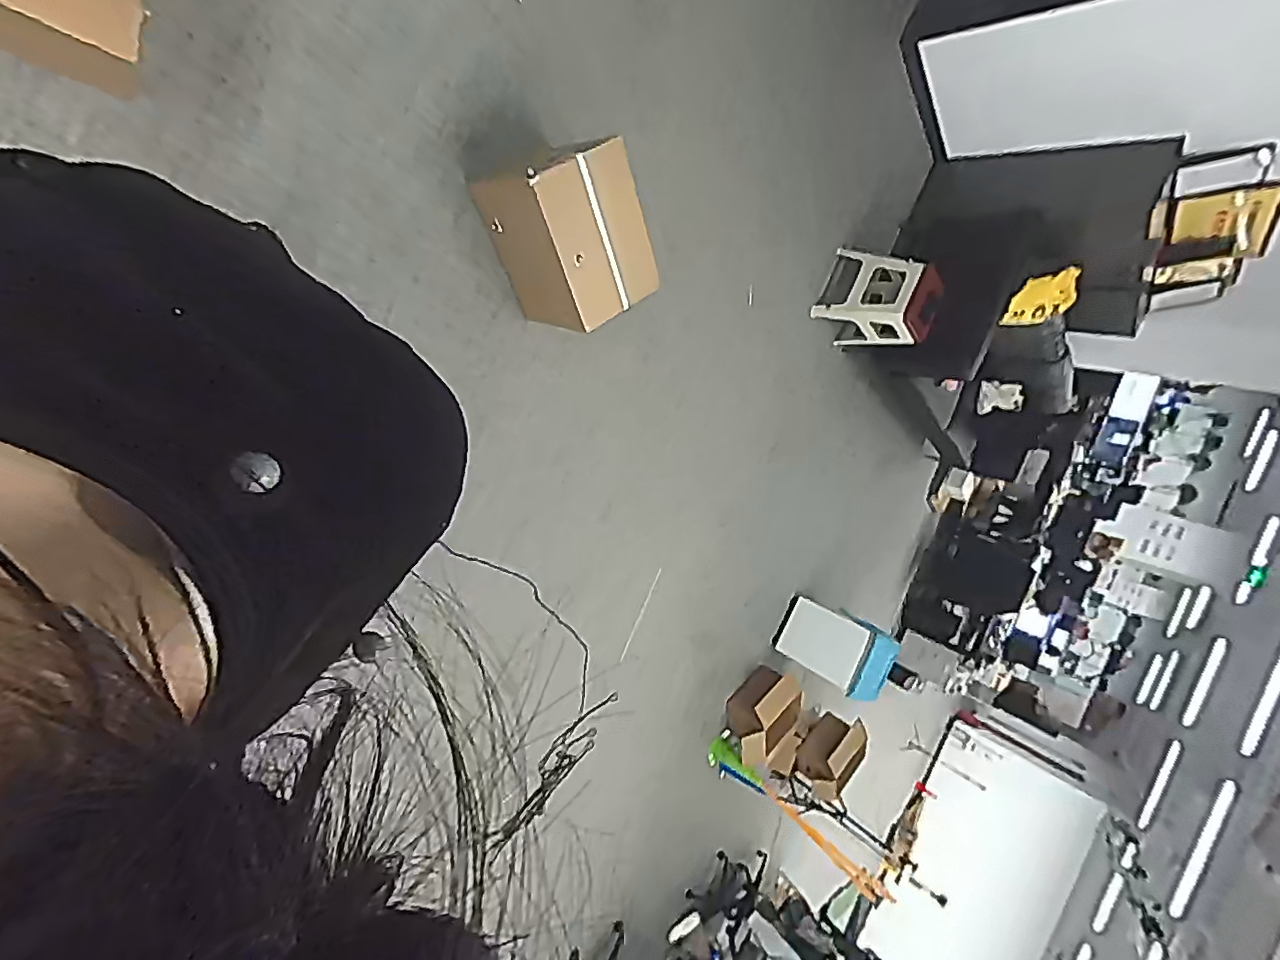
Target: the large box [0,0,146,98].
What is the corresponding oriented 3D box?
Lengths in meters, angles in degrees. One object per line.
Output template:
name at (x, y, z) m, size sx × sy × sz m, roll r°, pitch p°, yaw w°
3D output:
large box at (-0.938, -0.804, 0.728) m, size 0.408 × 0.320 × 0.320 m, roll 5°, pitch 103°, yaw -45°
